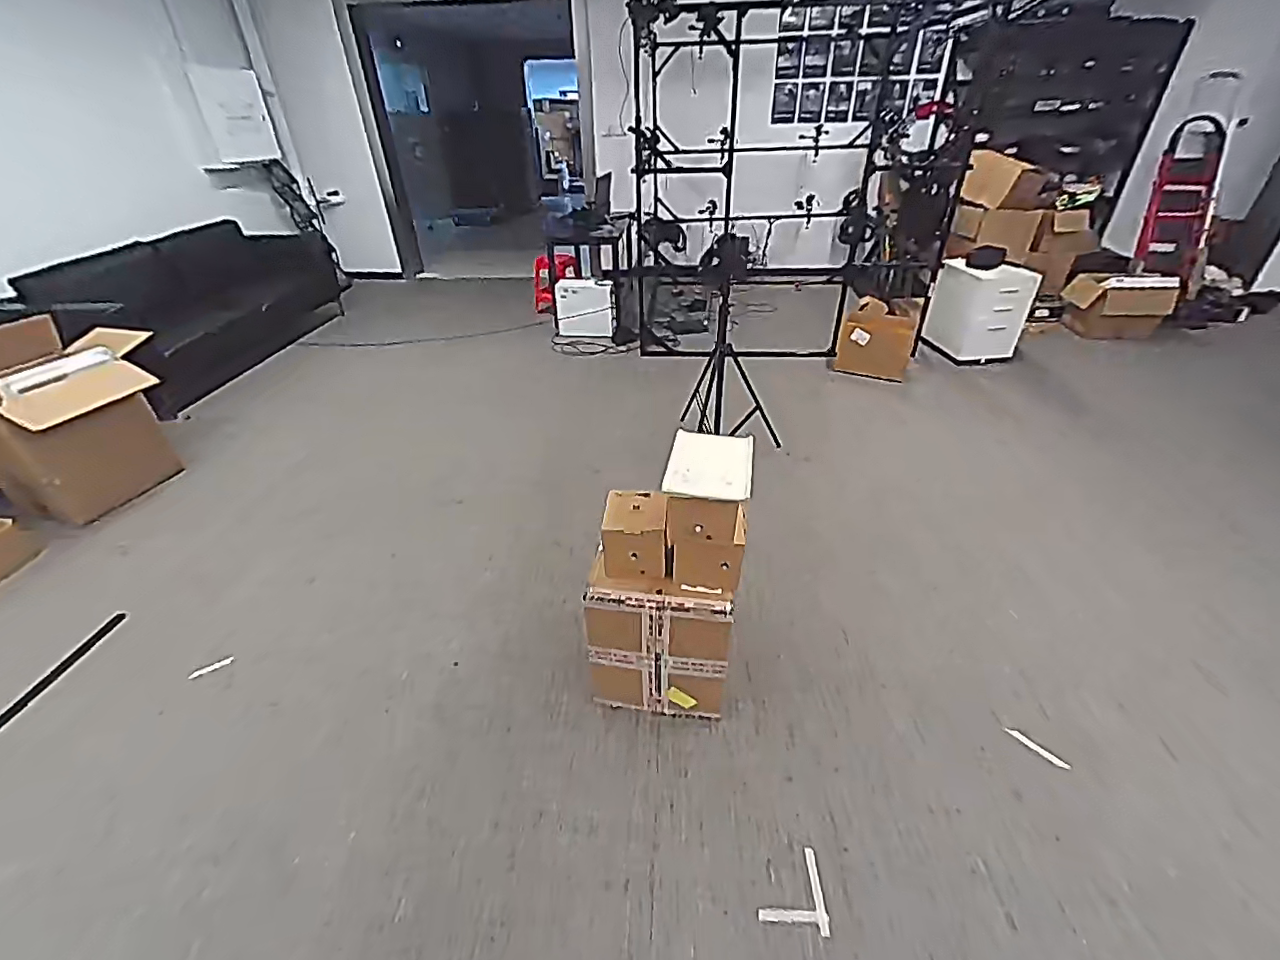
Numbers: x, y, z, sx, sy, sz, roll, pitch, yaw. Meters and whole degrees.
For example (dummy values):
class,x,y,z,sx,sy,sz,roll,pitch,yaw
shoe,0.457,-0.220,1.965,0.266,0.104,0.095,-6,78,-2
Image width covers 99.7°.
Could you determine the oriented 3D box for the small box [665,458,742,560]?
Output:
class,x,y,z,sx,sy,sz,roll,pitch,yaw
small box,0.156,0.070,1.336,0.168,0.176,0.179,7,37,8
